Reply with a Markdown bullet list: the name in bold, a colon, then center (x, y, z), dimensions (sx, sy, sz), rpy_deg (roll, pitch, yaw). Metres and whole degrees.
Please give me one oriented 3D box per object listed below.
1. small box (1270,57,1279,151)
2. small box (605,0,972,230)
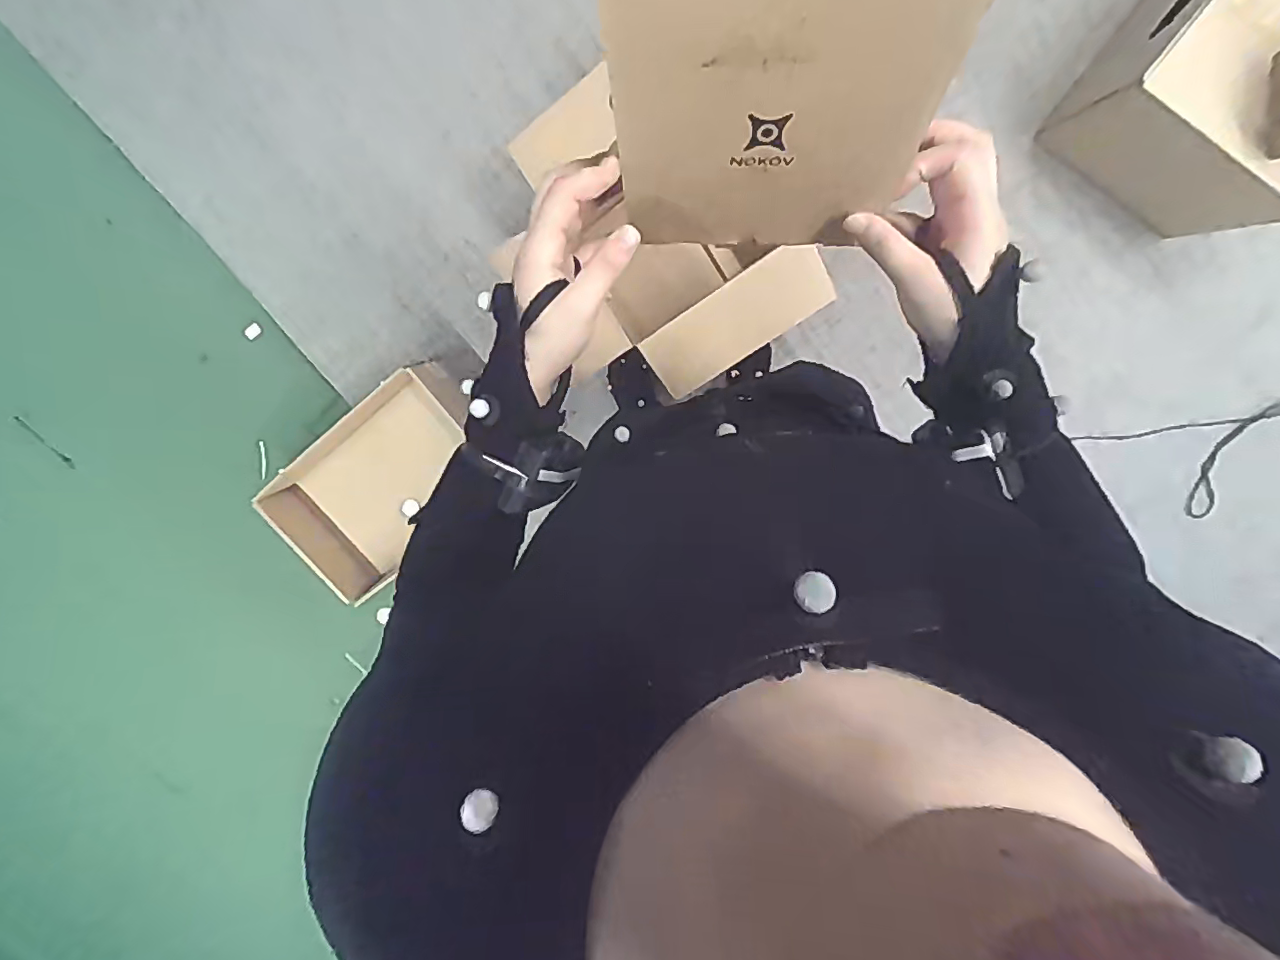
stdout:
- **small box**: center (1.127, -0.629, 0.815), dimensions (0.179, 0.176, 0.168), rpy_deg (-14, 106, 12)
- **small box**: center (0.073, -0.278, 0.319), dimensions (0.168, 0.179, 0.176), rpy_deg (2, 74, 5)
